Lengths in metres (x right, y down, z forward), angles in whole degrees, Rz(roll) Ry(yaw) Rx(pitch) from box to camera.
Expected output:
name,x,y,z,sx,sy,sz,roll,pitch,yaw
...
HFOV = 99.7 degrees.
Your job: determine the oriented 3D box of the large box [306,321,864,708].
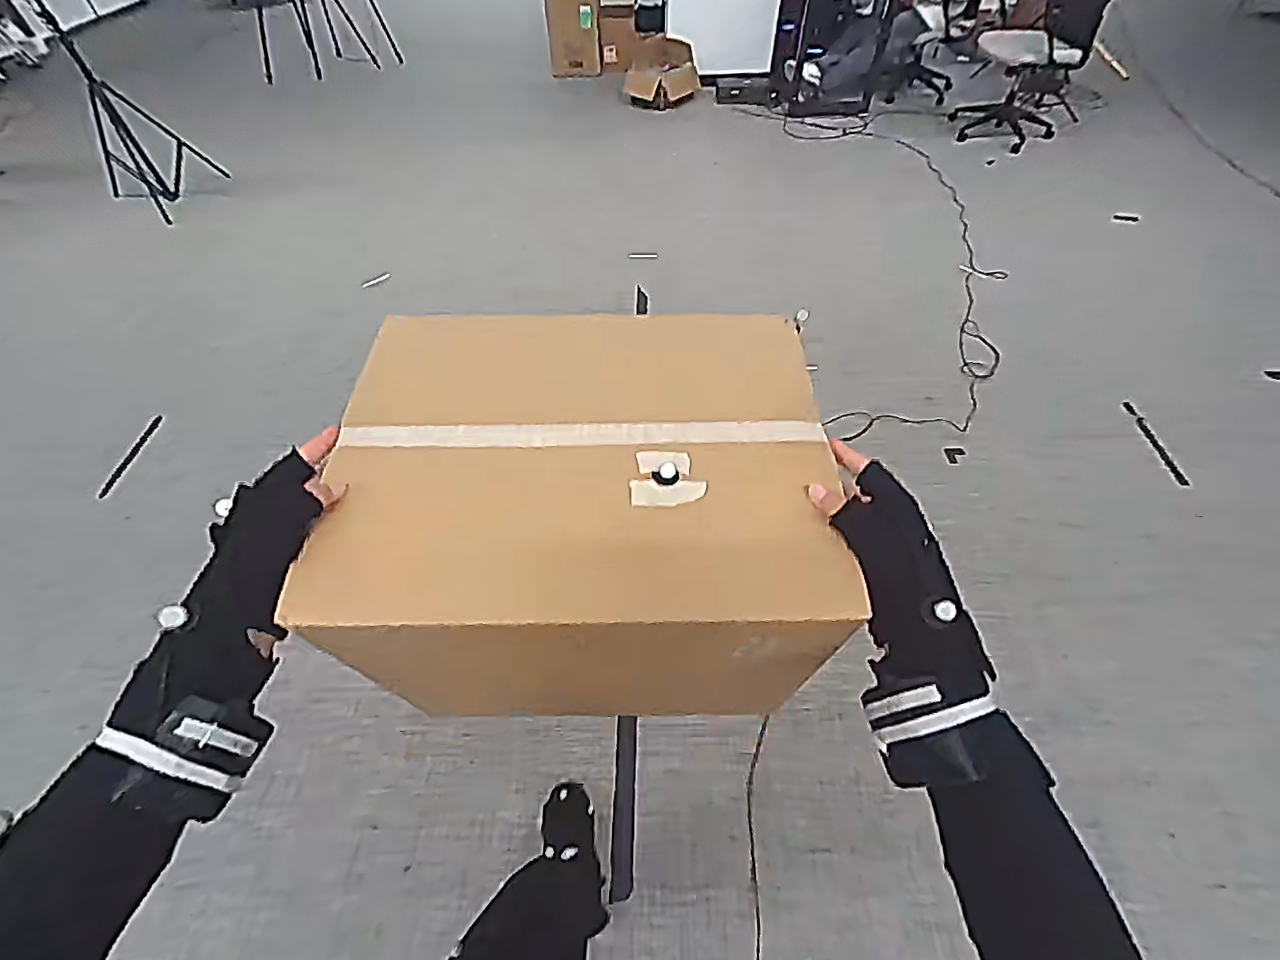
name,x,y,z,sx,sy,sz,roll,pitch,yaw
large box,-0.044,0.049,0.585,0.408,0.320,0.320,0,57,-1
